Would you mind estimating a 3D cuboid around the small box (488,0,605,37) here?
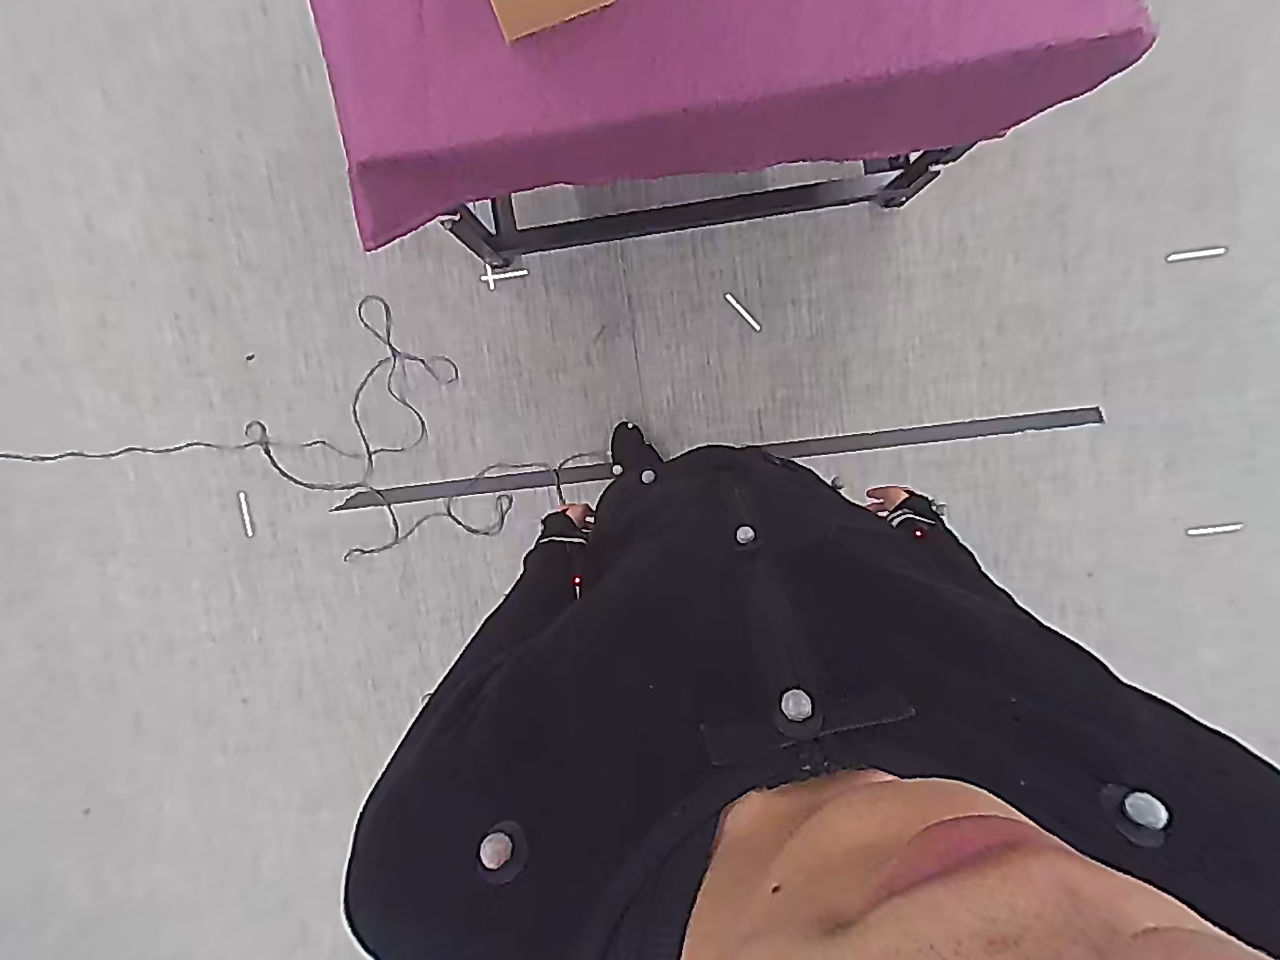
[{"bbox_3d":[-0.149,-0.752,0.725,0.179,0.176,0.168,-18,97,2],"label":"small box"}]
